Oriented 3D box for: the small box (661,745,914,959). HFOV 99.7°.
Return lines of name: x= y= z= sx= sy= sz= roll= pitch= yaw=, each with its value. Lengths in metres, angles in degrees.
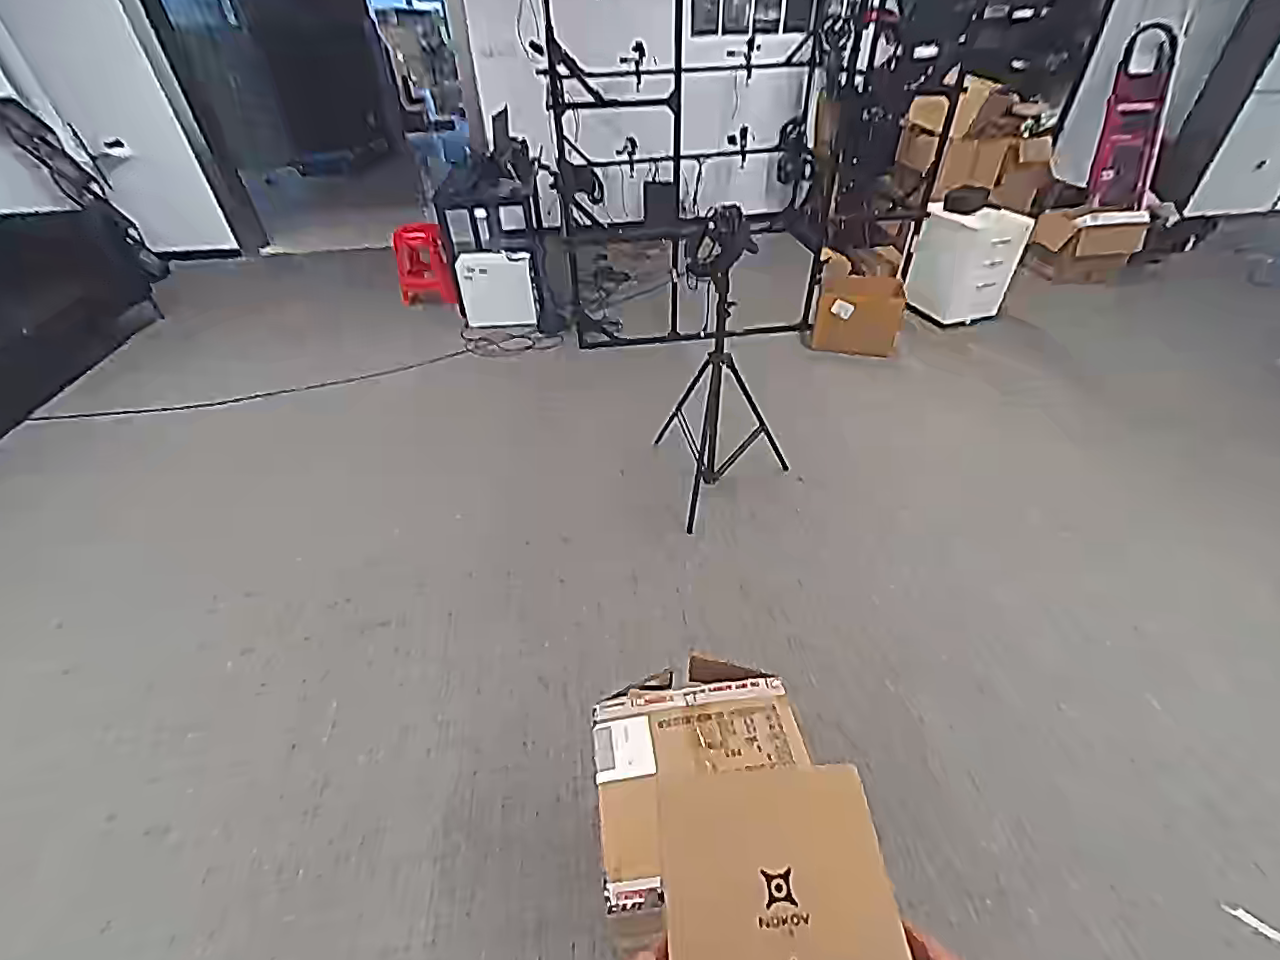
small box: x=0.105 y=0.345 z=0.458 sx=0.168 sy=0.176 sz=0.179 roll=-4 pitch=50 yaw=0
